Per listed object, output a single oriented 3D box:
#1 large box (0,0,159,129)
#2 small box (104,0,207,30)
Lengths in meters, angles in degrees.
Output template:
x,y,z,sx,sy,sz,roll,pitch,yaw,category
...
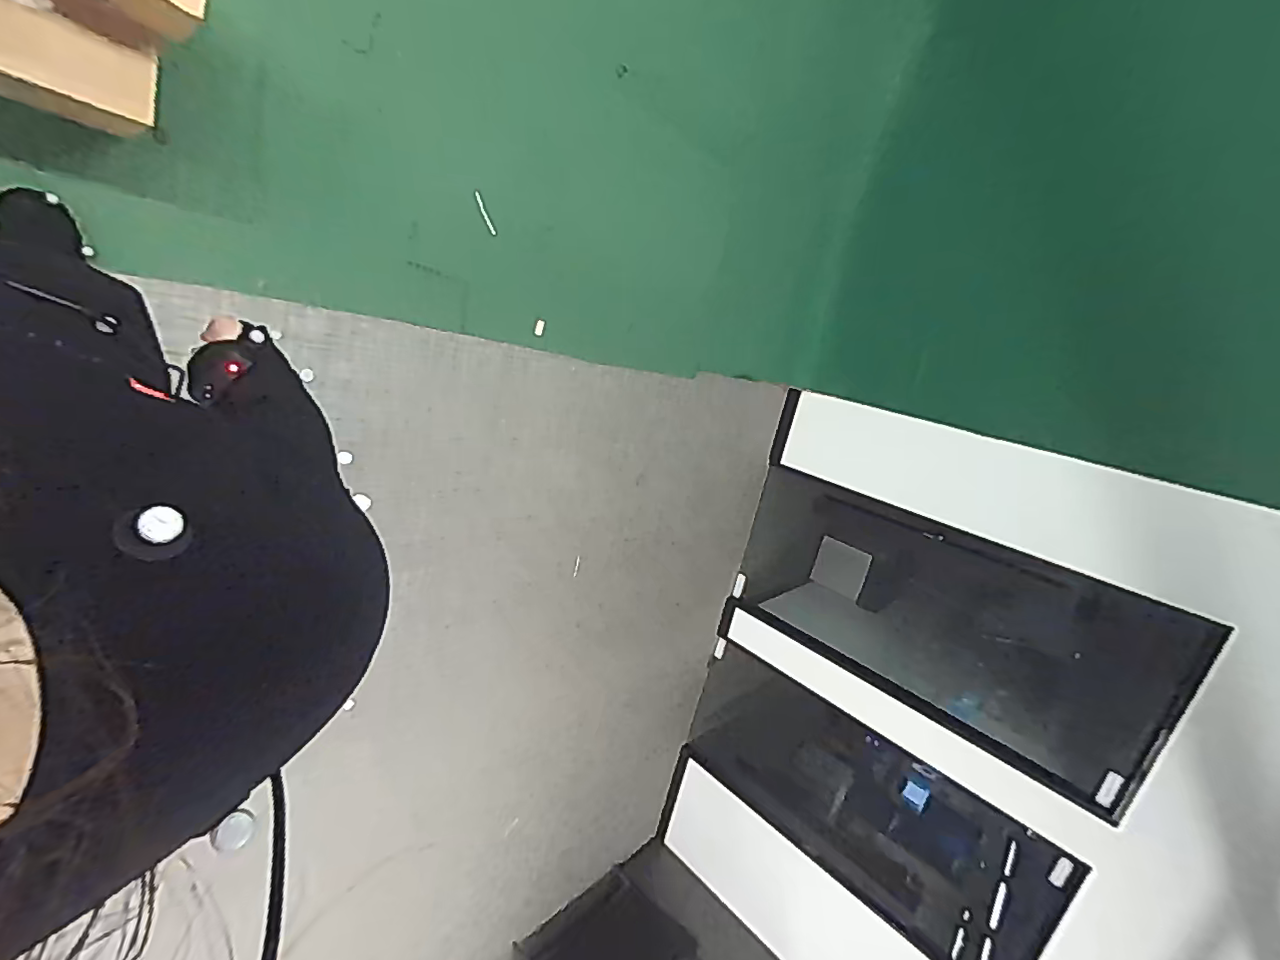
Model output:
x,y,z,sx,sy,sz,roll,pitch,yaw,category
-0.931,-0.731,0.719,0.408,0.320,0.320,-1,111,-50,large box
-0.649,-0.701,0.664,0.179,0.176,0.168,7,104,-51,small box
